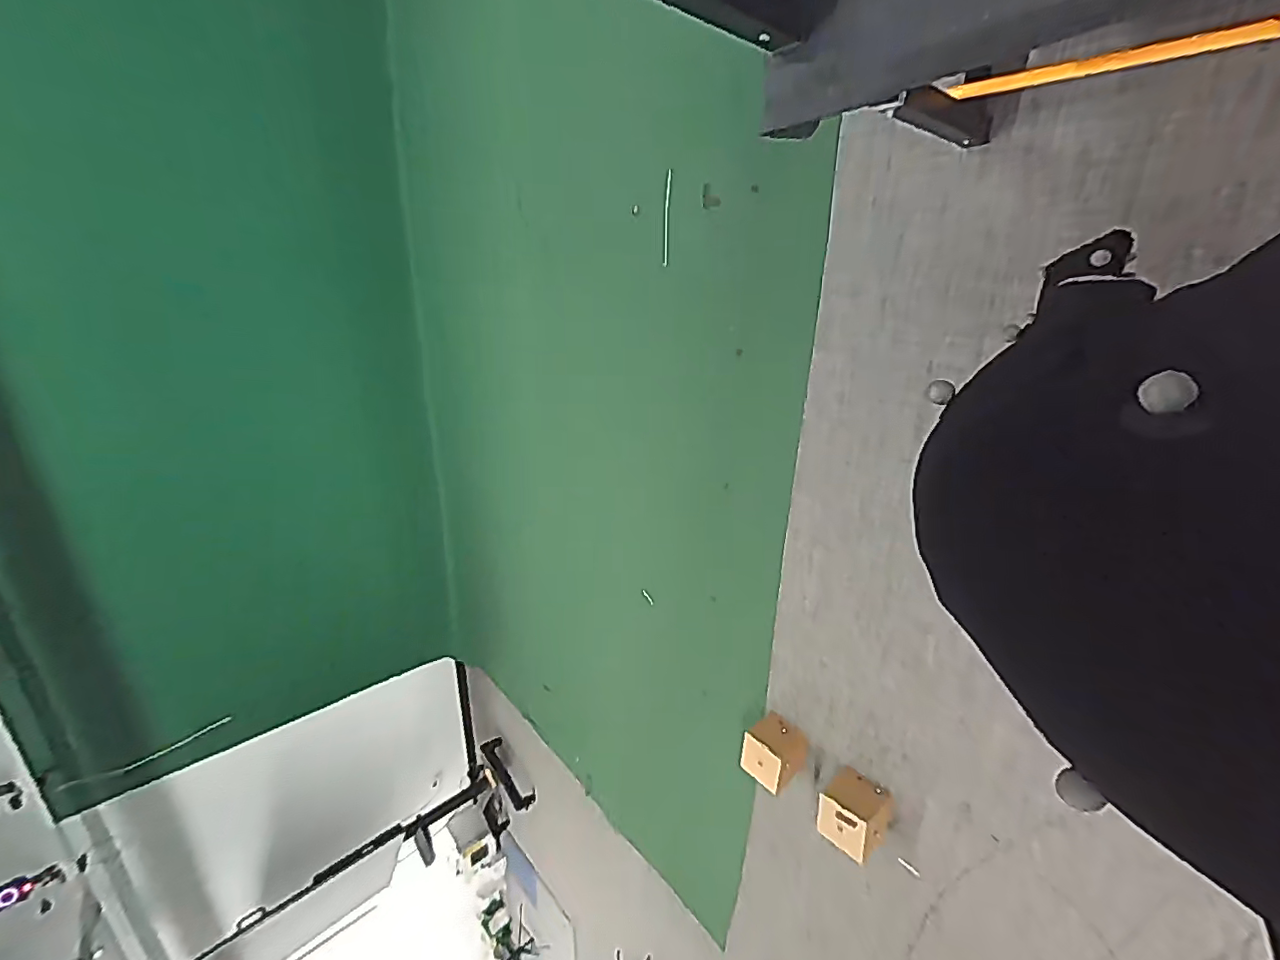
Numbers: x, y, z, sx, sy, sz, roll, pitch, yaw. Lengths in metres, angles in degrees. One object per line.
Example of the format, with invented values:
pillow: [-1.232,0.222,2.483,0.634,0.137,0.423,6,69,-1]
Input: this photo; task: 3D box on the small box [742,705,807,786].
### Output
small box: [0.510,0.996,2.040,0.168,0.176,0.179,24,120,43]

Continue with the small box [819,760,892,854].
small box: [0.724,1.087,1.815,0.168,0.176,0.179,18,116,46]
